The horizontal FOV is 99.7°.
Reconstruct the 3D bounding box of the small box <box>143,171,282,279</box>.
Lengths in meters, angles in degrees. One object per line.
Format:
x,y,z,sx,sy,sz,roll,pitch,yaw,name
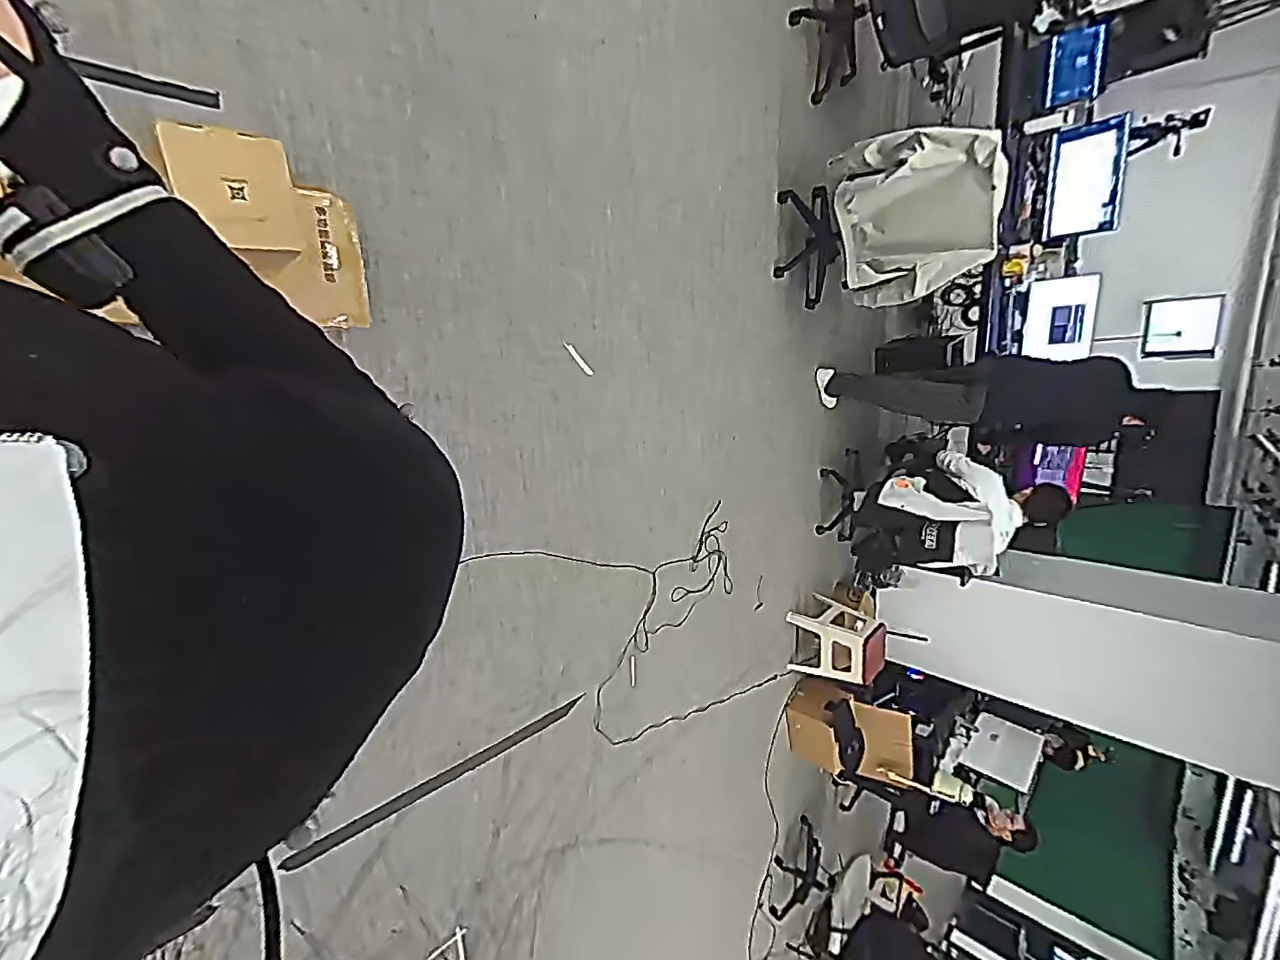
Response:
-0.813,-0.486,1.031,0.168,0.176,0.179,-17,109,-45,small box

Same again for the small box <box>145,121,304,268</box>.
-0.702,-0.467,0.914,0.168,0.176,0.179,-20,111,-42,small box

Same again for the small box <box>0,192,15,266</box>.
-1.051,-0.423,0.783,0.168,0.176,0.179,-15,107,-45,small box
